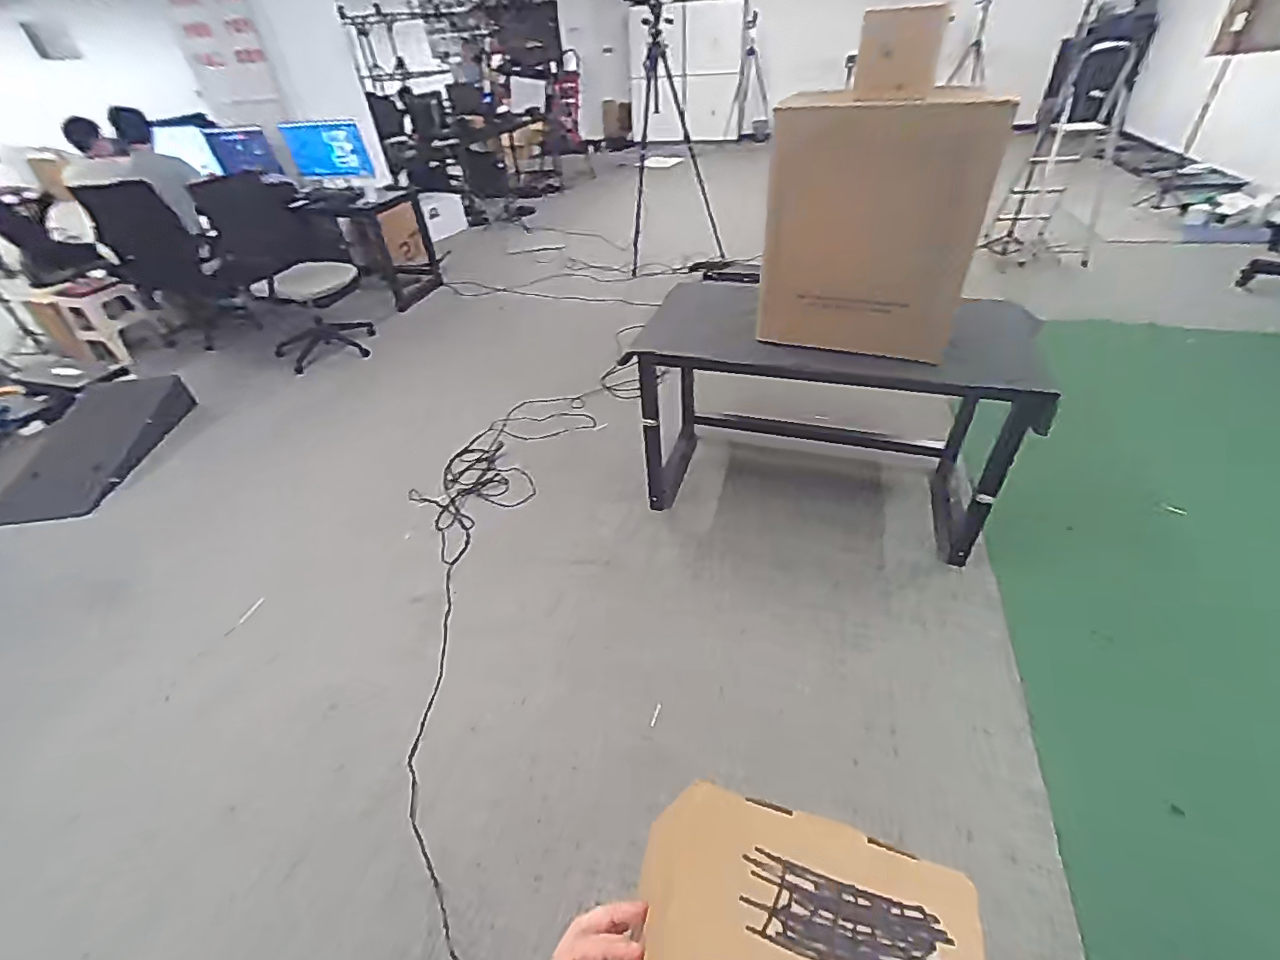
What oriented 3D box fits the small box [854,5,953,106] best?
[{"bbox_3d":[0.607,-0.981,1.256,0.168,0.176,0.179,16,45,23],"label":"small box"}]
